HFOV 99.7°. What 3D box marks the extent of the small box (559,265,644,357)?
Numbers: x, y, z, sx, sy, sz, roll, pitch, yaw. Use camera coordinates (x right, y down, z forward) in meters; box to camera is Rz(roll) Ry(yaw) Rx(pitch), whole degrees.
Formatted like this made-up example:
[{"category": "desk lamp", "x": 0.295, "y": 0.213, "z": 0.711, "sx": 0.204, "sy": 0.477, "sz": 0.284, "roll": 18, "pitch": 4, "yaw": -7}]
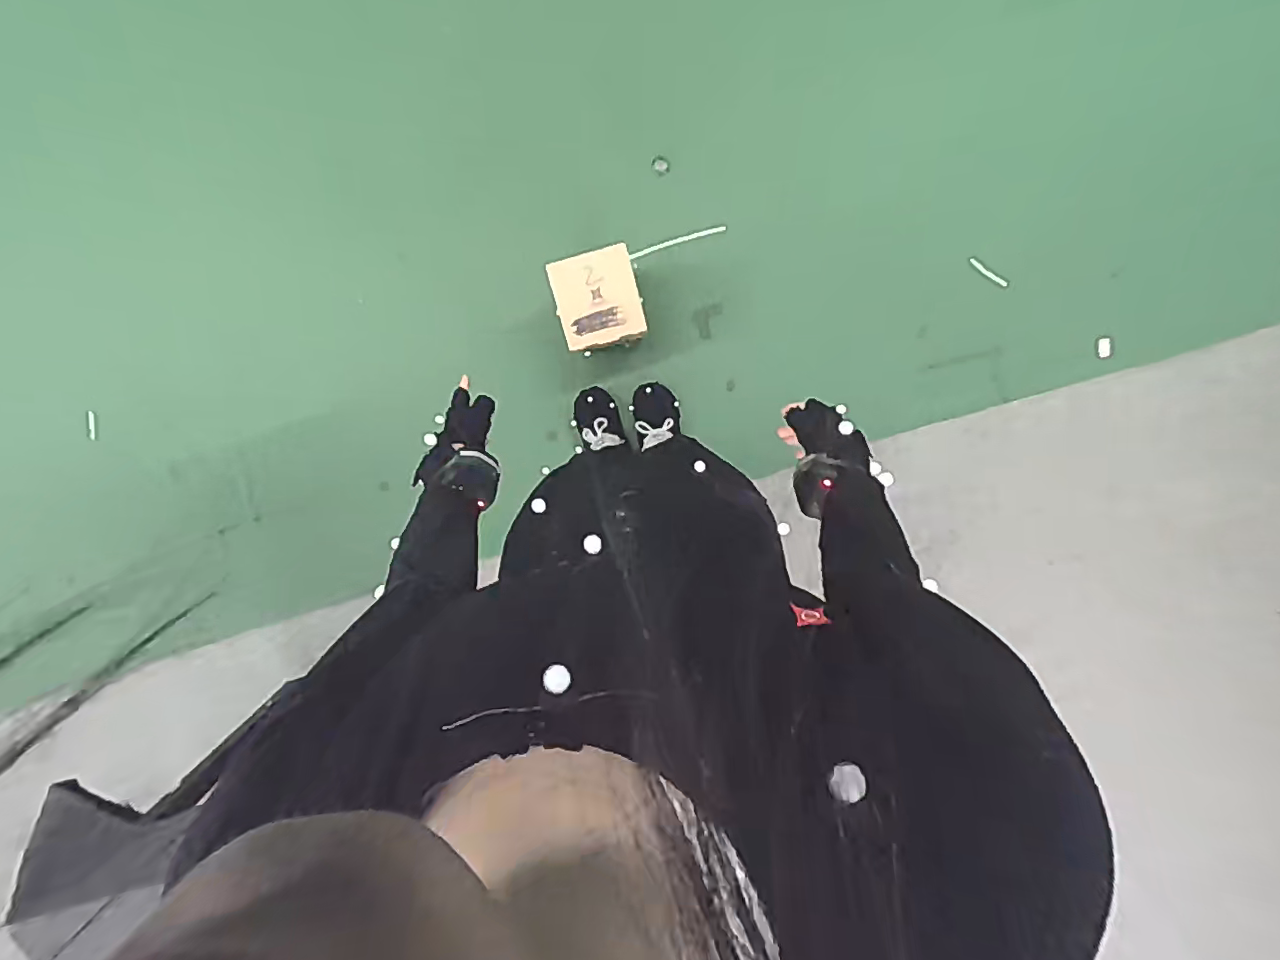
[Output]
[{"category": "small box", "x": -0.086, "y": -0.407, "z": 1.319, "sx": 0.168, "sy": 0.176, "sz": 0.179, "roll": -12, "pitch": 103, "yaw": 3}]
